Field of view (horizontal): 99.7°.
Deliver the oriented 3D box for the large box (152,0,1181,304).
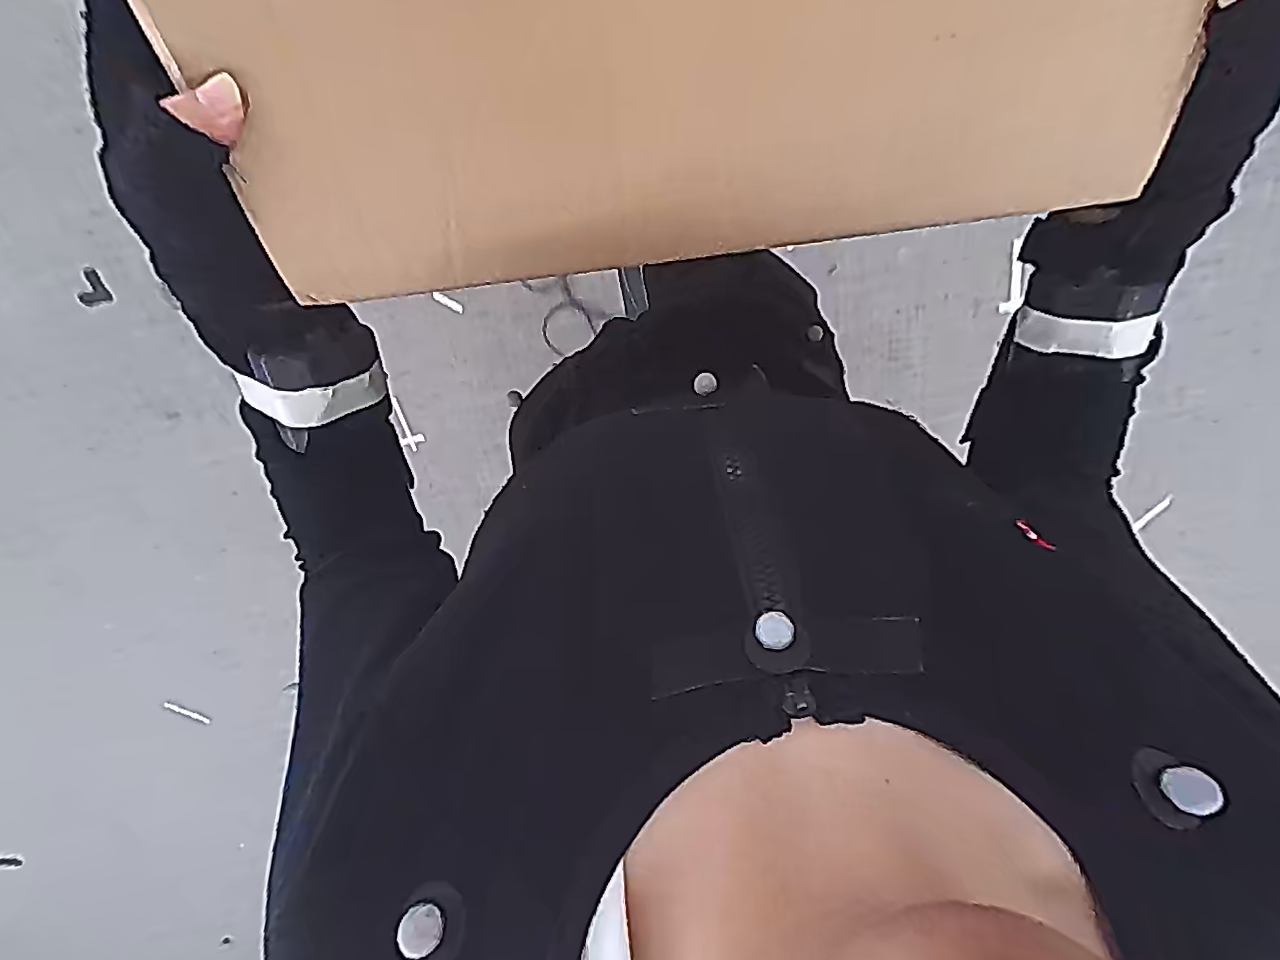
[{"bbox_3d":[0.006,-0.327,0.282,0.408,0.320,0.320,-7,130,2],"label":"large box"}]
